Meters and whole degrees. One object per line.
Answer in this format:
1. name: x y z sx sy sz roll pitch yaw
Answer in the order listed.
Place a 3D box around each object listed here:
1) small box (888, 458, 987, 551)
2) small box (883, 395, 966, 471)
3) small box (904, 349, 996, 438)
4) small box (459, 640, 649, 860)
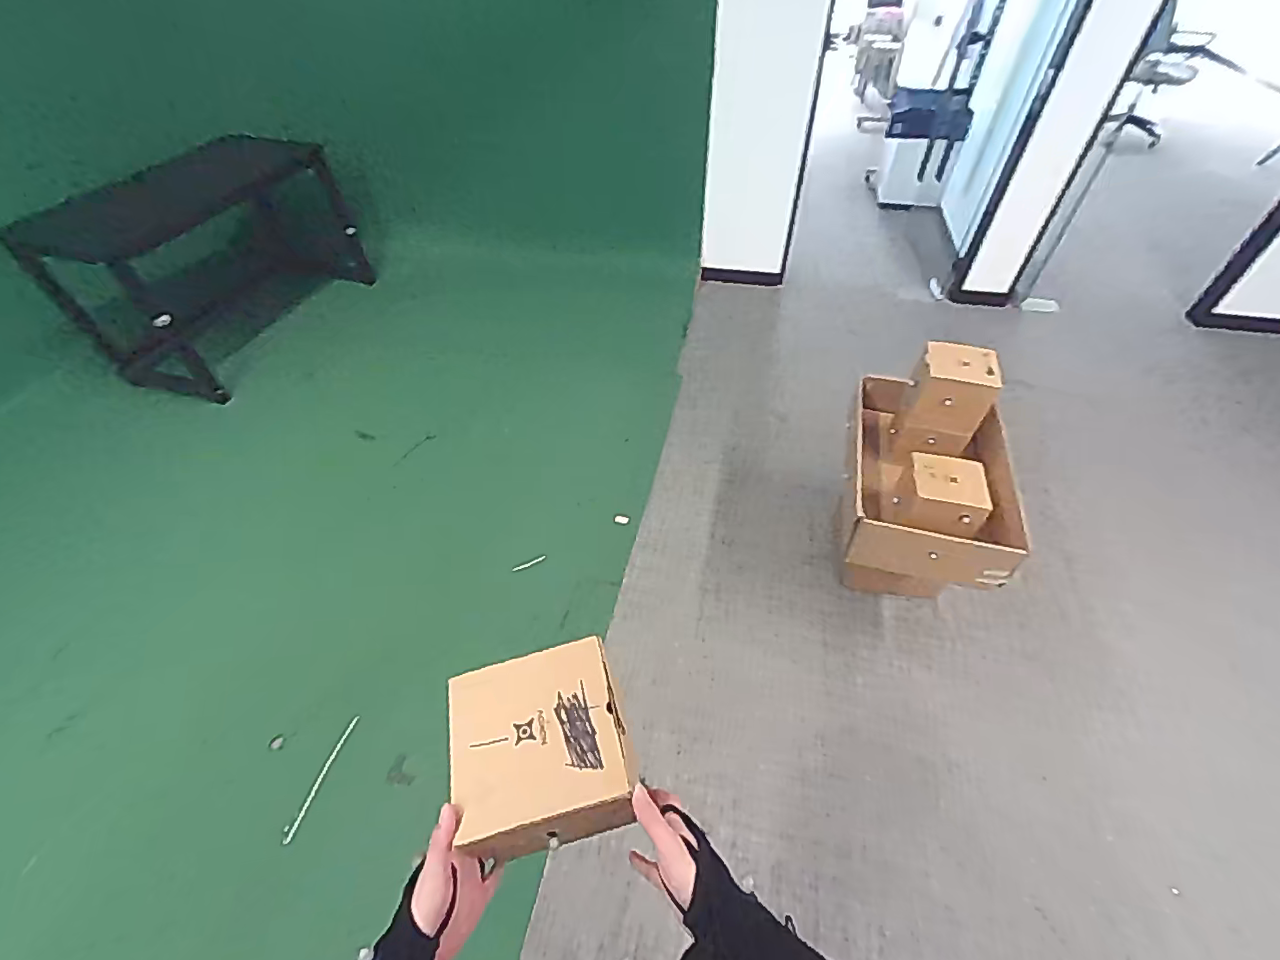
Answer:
1. small box: 0.781 0.068 1.438 0.179 0.176 0.168 10 48 10
2. small box: 0.844 -0.127 1.620 0.179 0.176 0.168 14 50 11
3. small box: 0.847 -0.238 1.499 0.179 0.176 0.168 13 51 12
4. small box: -0.091 0.310 0.617 0.179 0.176 0.168 -15 50 -4
